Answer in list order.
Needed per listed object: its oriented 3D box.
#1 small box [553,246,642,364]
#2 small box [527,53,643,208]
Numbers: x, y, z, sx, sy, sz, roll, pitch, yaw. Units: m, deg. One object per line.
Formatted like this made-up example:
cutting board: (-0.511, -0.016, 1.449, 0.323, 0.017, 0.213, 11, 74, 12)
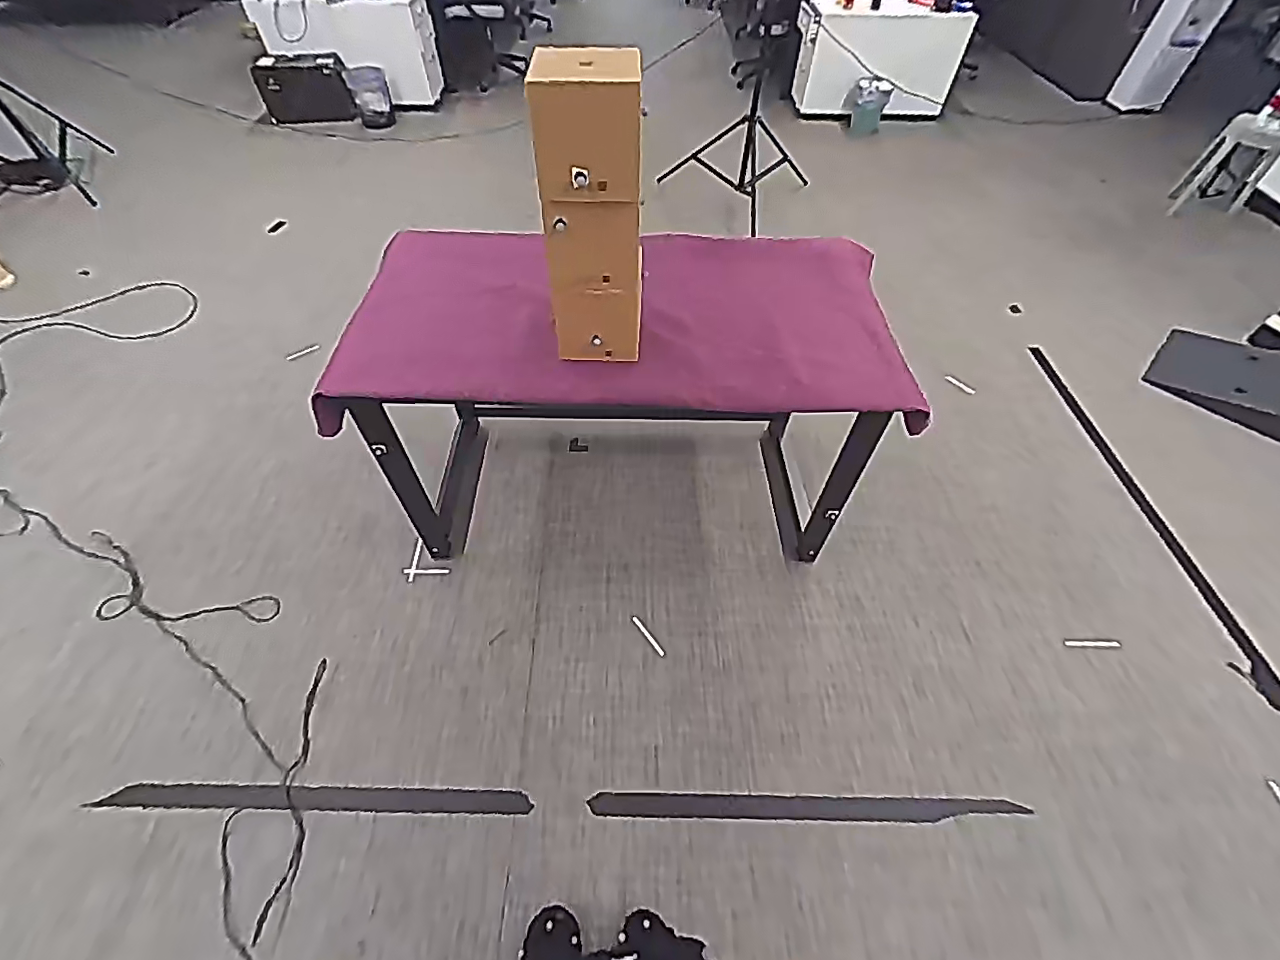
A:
small box: (-0.082, -0.366, 1.134, 0.168, 0.176, 0.179, 2, 51, 1)
small box: (-0.081, -0.561, 0.871, 0.168, 0.176, 0.179, -2, 52, -2)
